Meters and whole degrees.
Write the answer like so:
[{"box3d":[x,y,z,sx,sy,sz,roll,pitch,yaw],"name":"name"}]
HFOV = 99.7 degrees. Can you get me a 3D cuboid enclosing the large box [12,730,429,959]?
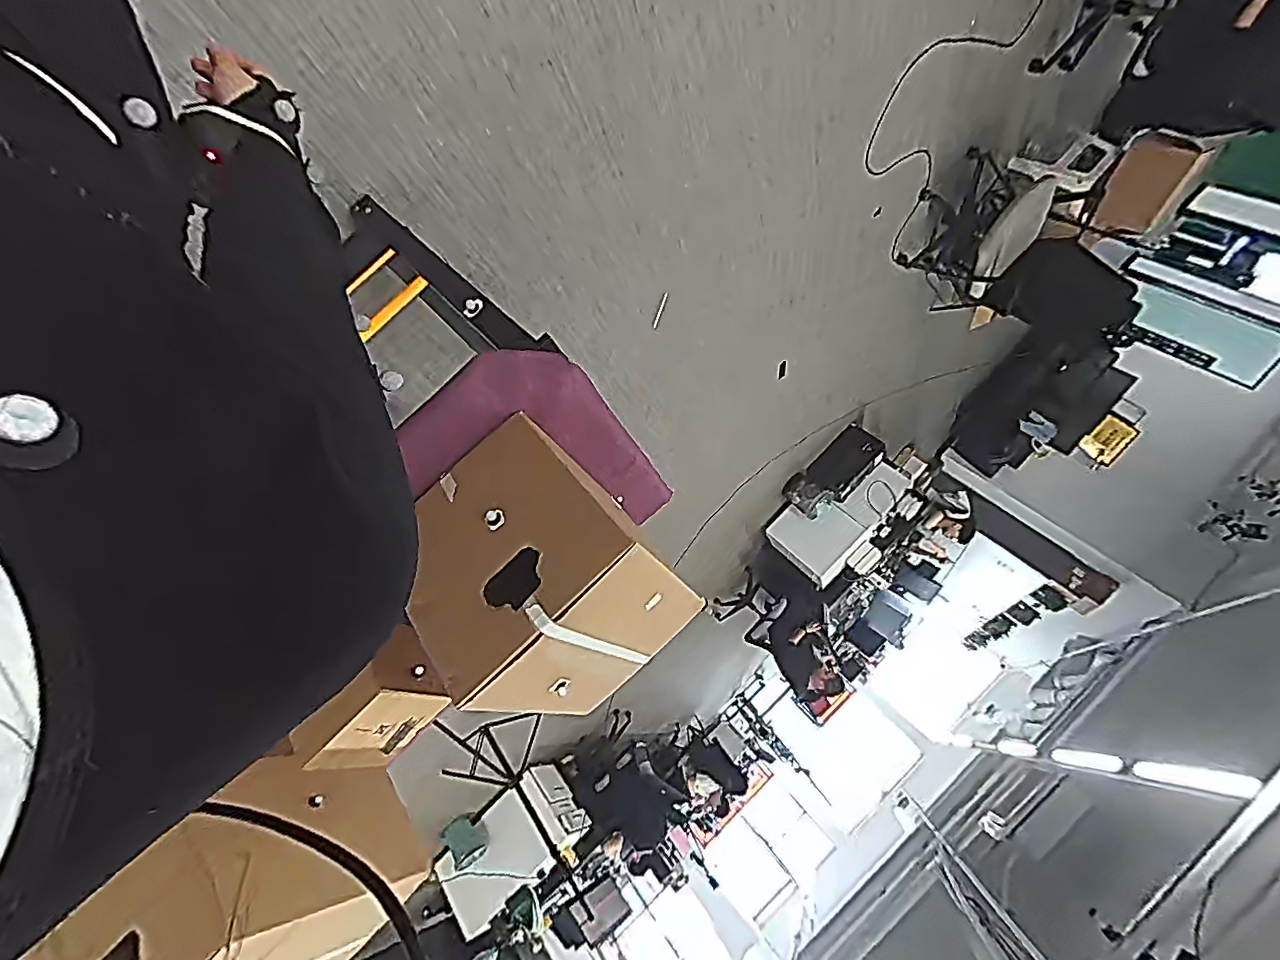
[{"box3d":[-0.652,0.649,0.889,0.320,0.320,0.408,-44,151,-3],"name":"large box"}]
